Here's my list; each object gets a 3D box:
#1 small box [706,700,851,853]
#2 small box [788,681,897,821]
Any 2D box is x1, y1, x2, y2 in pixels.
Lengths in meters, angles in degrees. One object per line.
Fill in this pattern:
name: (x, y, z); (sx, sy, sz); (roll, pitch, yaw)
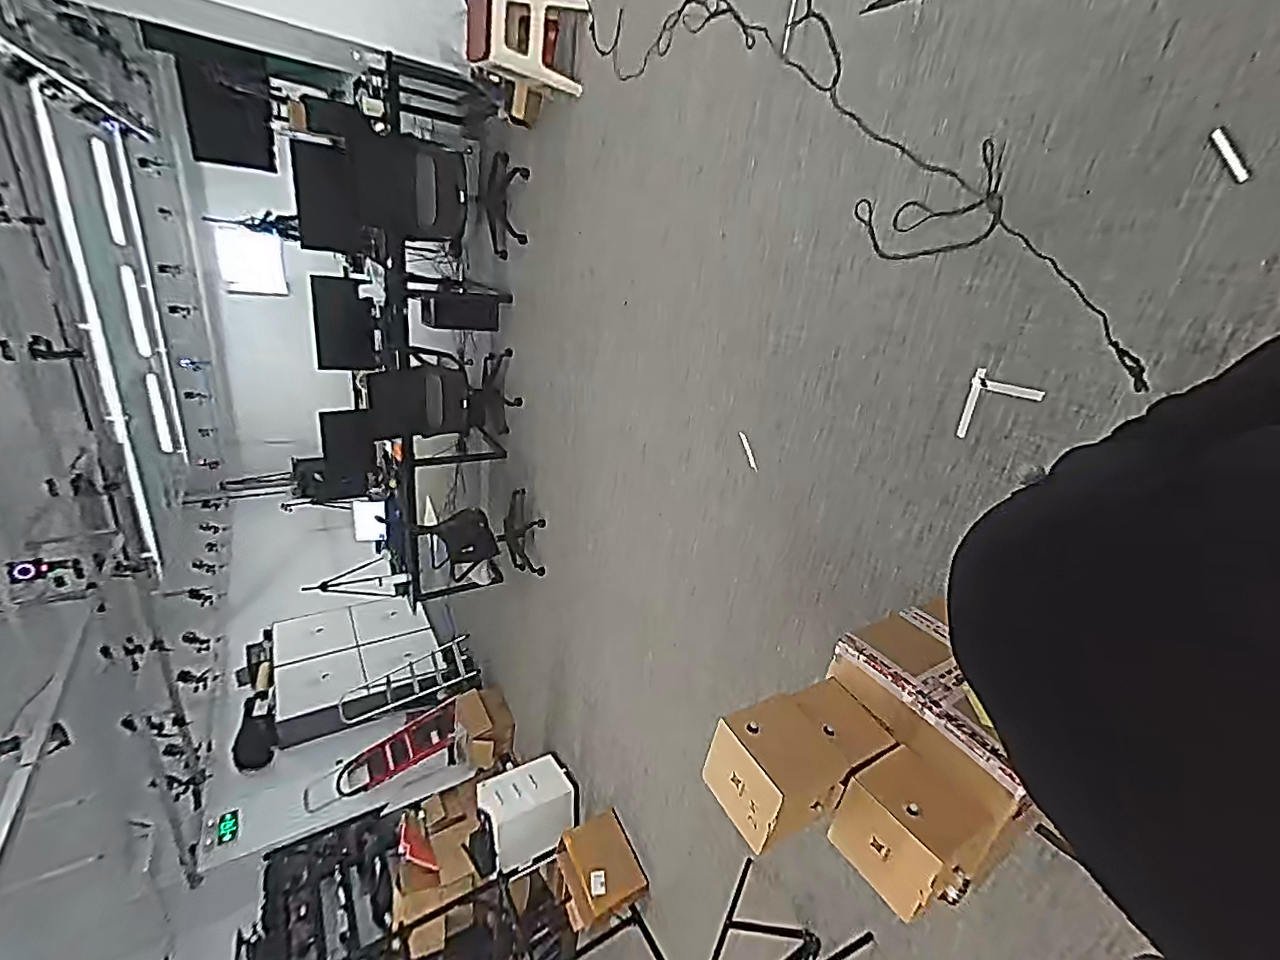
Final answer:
small box: (0.256, 0.542, 1.019); (0.179, 0.176, 0.168); (42, 129, 48)
small box: (0.390, 0.549, 1.117); (0.179, 0.176, 0.168); (46, 132, 47)
